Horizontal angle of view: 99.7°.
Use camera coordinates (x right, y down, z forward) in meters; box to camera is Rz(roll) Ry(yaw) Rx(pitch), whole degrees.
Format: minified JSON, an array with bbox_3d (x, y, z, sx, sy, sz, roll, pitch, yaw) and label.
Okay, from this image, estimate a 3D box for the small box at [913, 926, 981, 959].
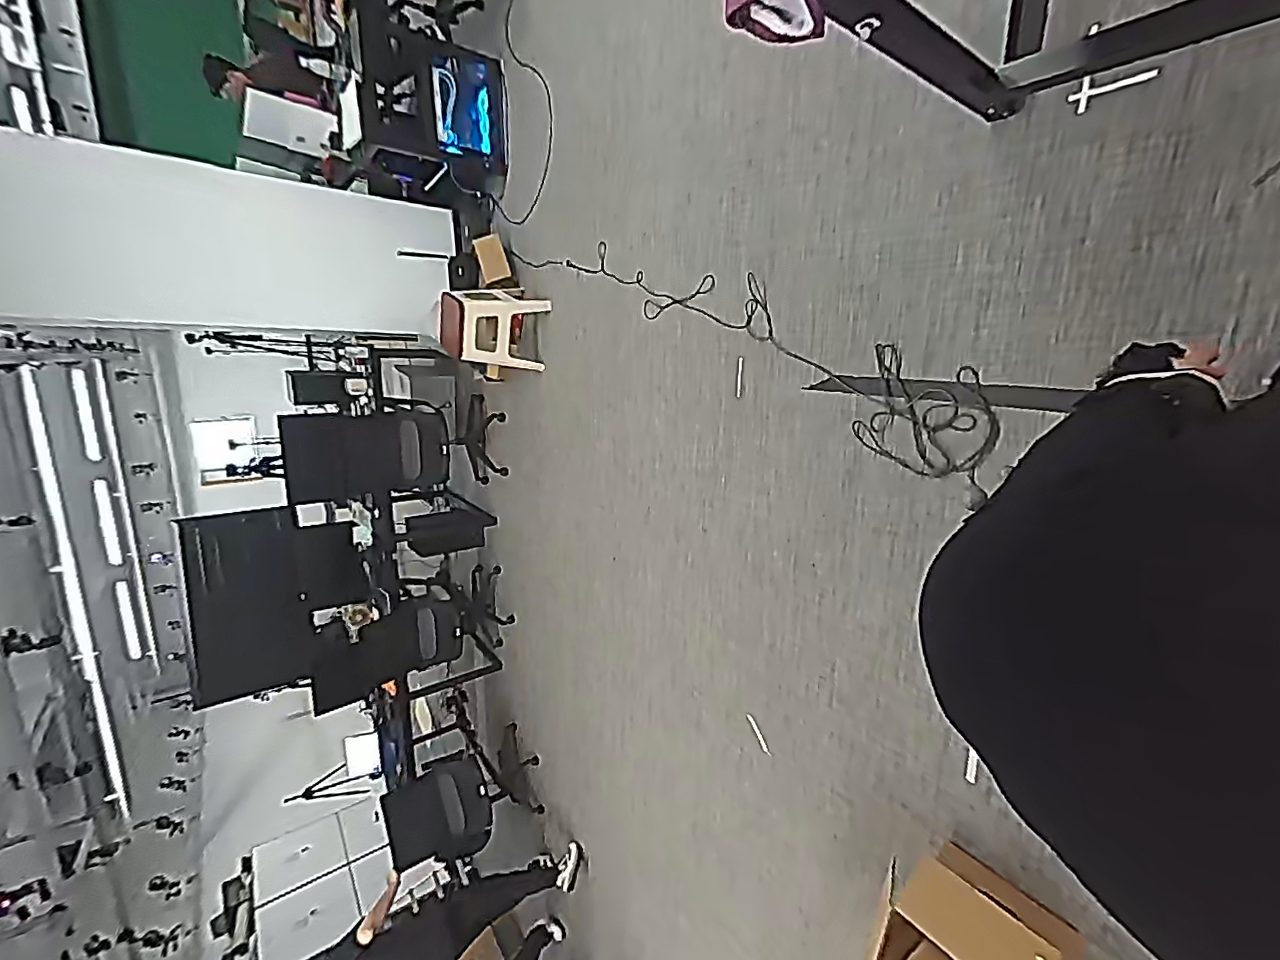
[{"bbox_3d":[0.725,1.205,1.257,0.168,0.176,0.179,30,122,51],"label":"small box"}]
